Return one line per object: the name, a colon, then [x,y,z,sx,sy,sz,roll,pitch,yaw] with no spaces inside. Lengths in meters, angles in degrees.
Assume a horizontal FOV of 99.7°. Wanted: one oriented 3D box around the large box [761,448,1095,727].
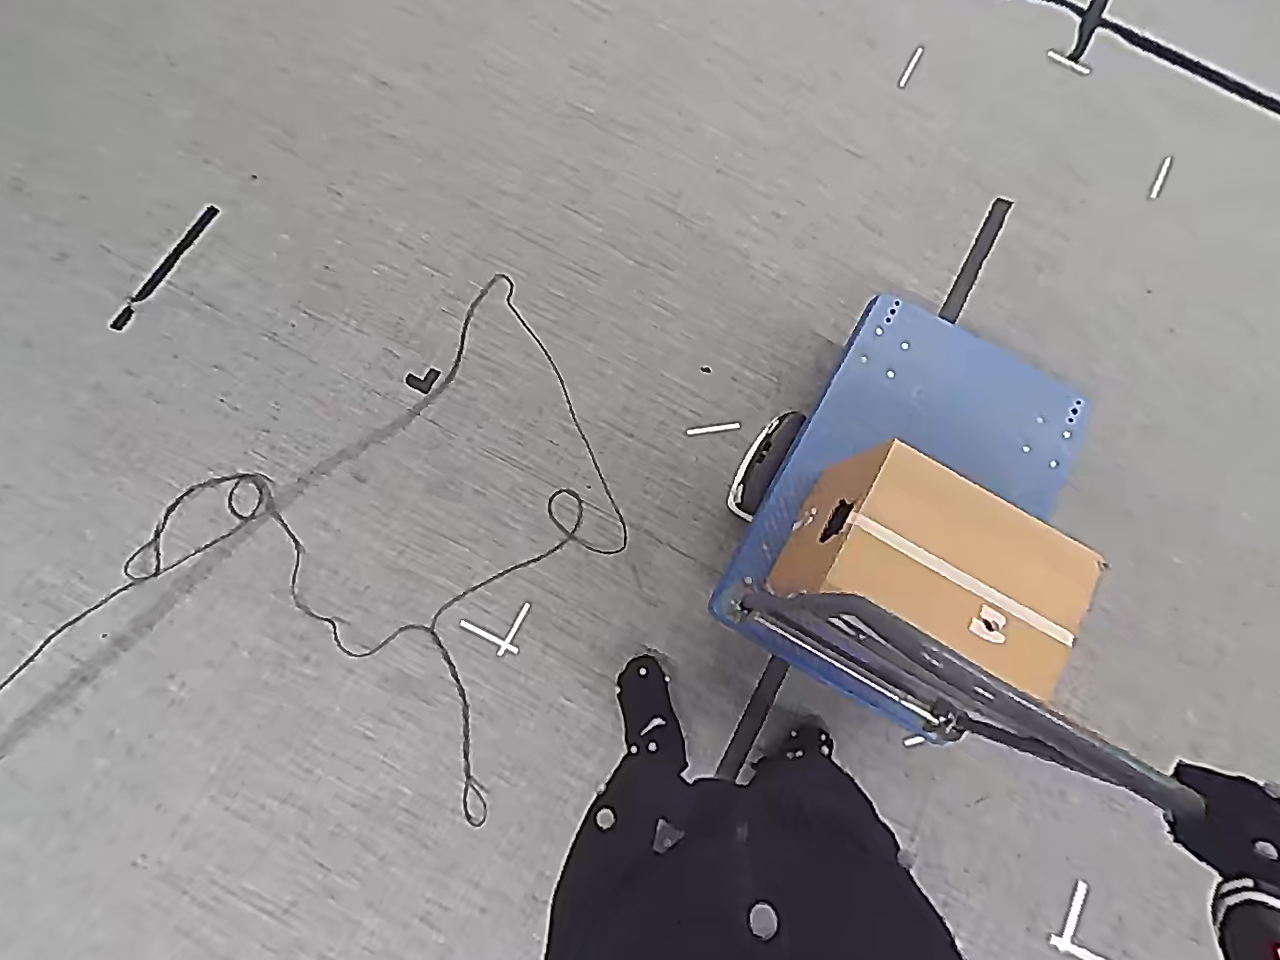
large box: [0.506,0.190,1.026,0.408,0.320,0.320,30,81,1]
